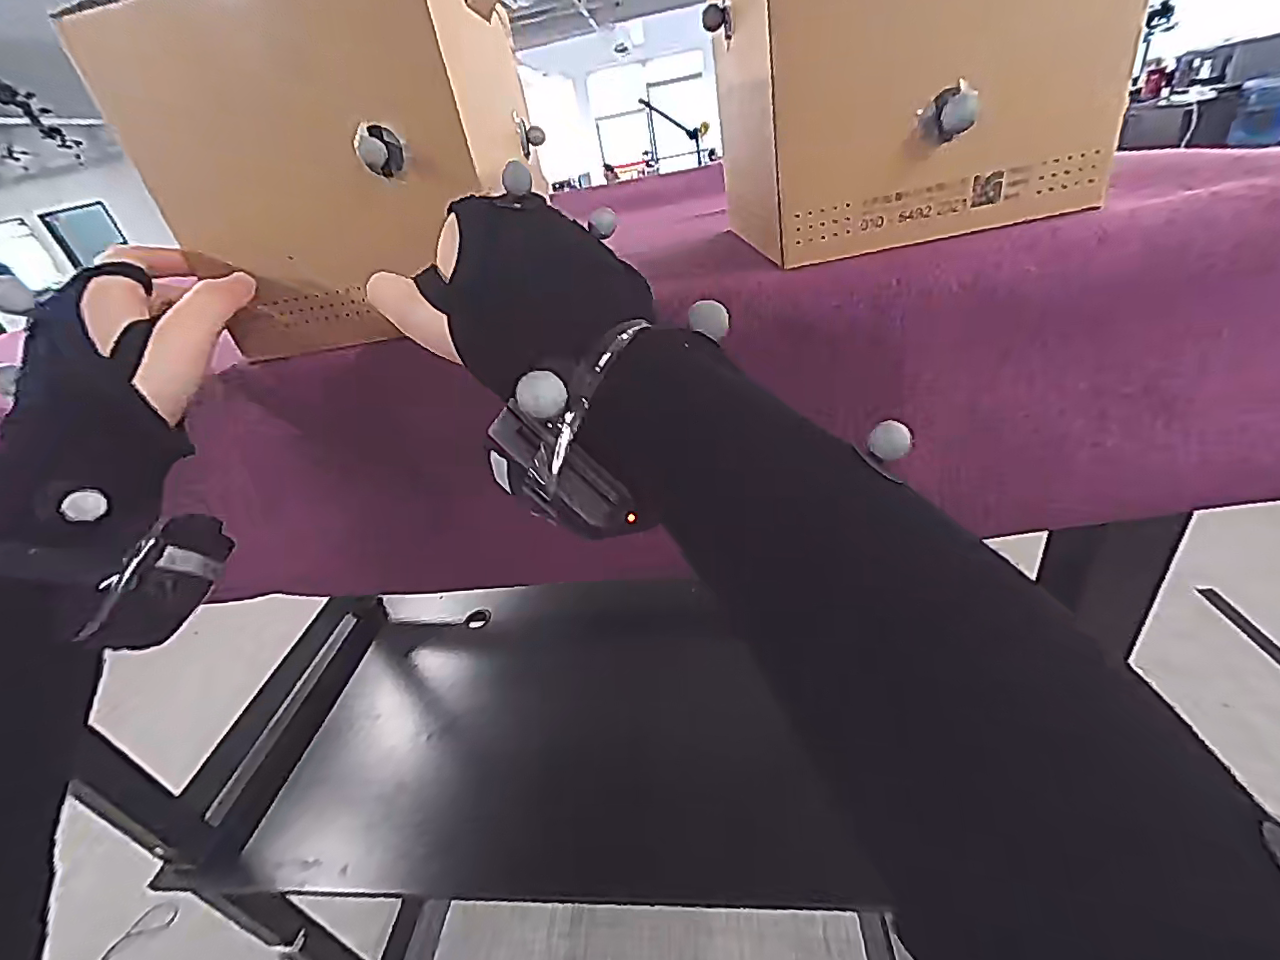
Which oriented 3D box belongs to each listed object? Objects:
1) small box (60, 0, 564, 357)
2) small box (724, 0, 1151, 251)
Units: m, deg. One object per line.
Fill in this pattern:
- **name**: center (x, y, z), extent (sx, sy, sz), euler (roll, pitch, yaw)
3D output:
- **small box**: center (-0.156, -0.190, 0.336), extent (0.179, 0.176, 0.168), euler (-8, 30, 7)
- **small box**: center (0.144, -0.241, 0.314), extent (0.168, 0.176, 0.179), euler (-10, 31, 5)
